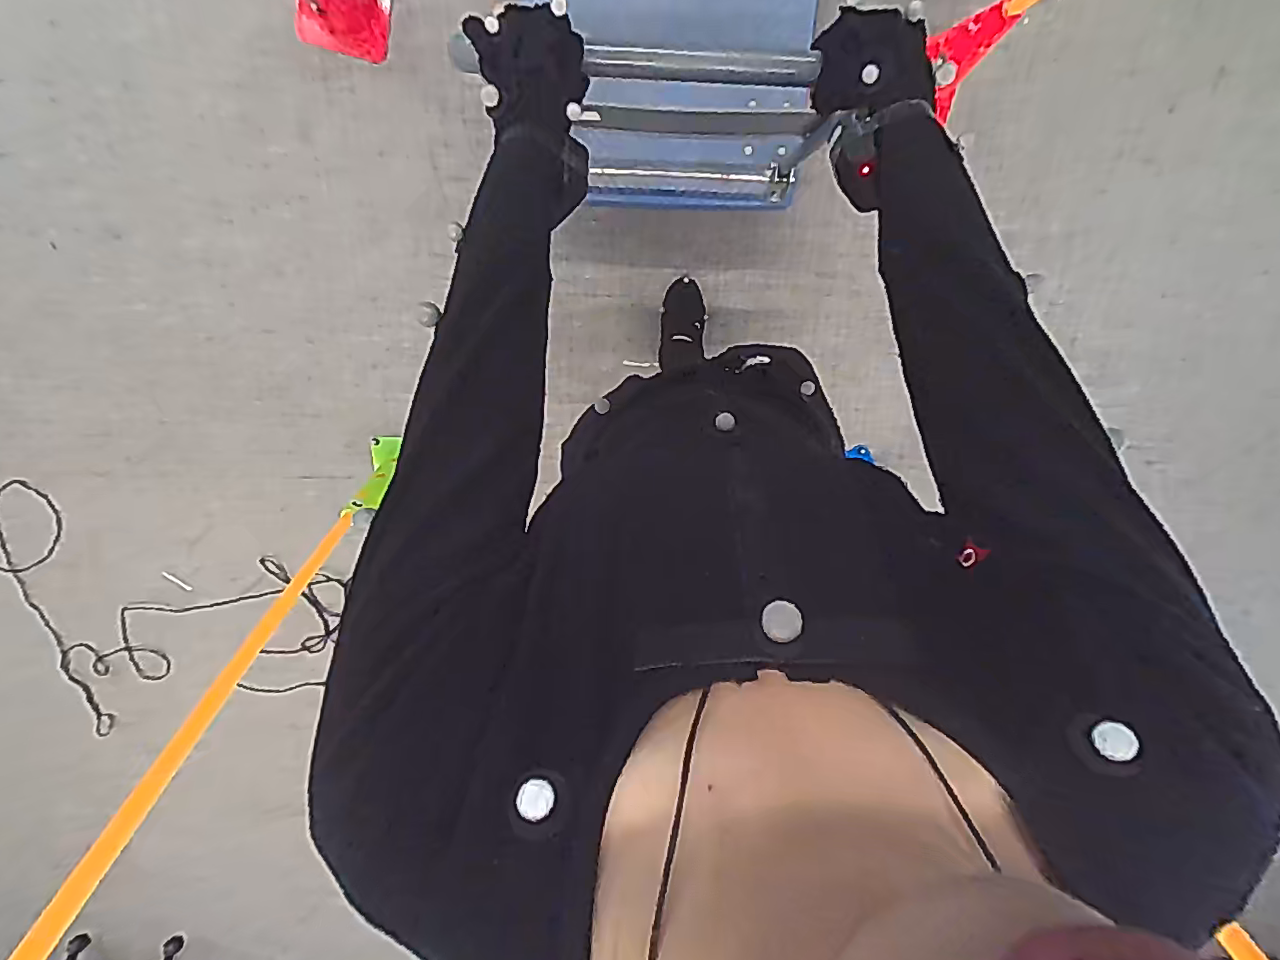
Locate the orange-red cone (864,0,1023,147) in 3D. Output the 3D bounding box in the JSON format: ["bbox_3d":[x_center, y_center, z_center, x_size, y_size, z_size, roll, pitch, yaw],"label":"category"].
[{"bbox_3d":[0.633,-0.842,1.081,0.198,0.360,0.199,12,108,-3],"label":"orange-red cone"}]
